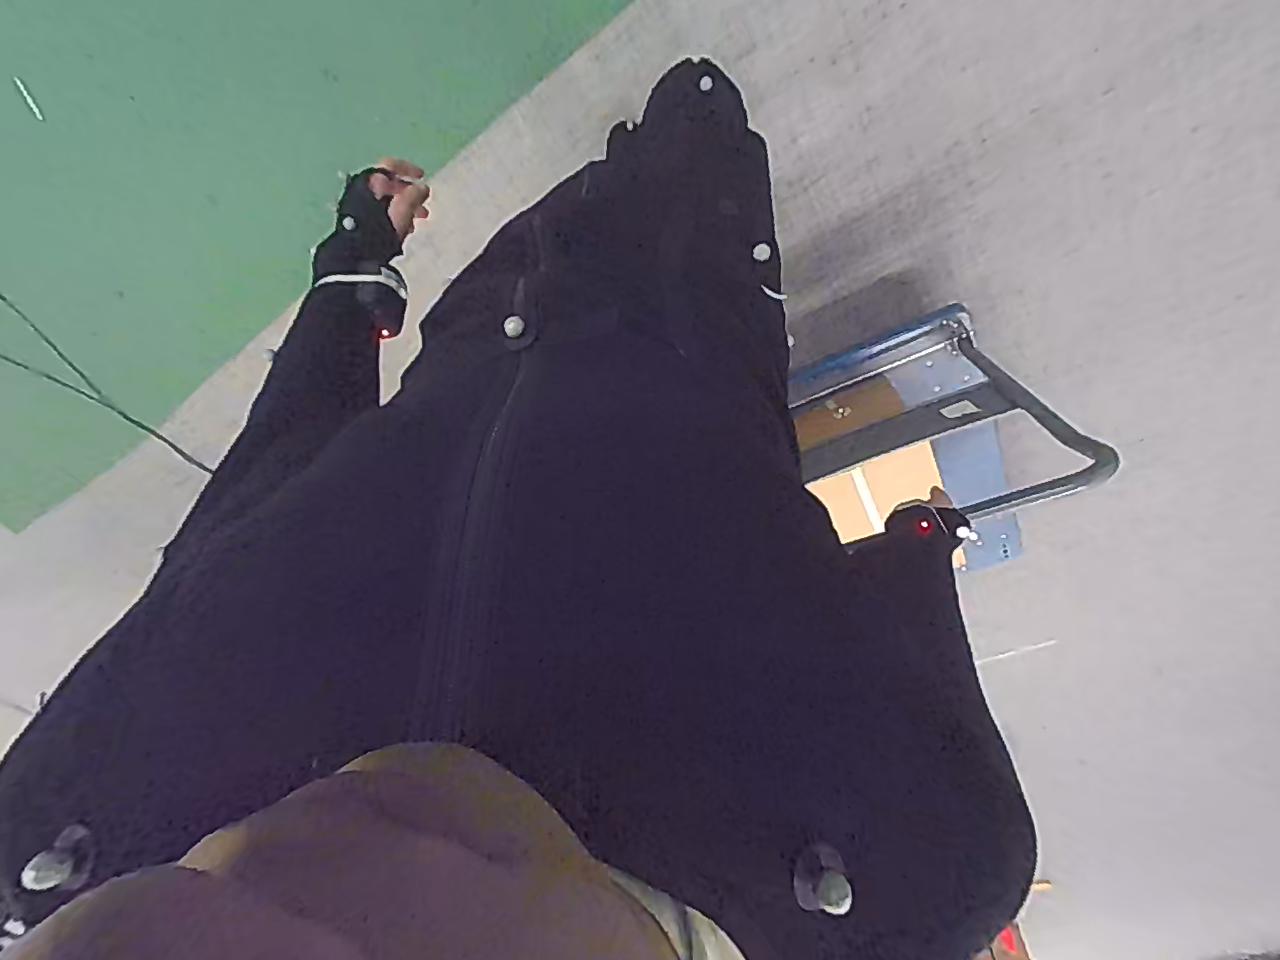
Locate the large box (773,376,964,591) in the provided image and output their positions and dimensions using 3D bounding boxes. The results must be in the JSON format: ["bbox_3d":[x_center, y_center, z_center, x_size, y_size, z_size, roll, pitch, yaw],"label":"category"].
[{"bbox_3d":[0.580,0.011,1.410,0.320,0.320,0.408,-22,120,20],"label":"large box"}]
